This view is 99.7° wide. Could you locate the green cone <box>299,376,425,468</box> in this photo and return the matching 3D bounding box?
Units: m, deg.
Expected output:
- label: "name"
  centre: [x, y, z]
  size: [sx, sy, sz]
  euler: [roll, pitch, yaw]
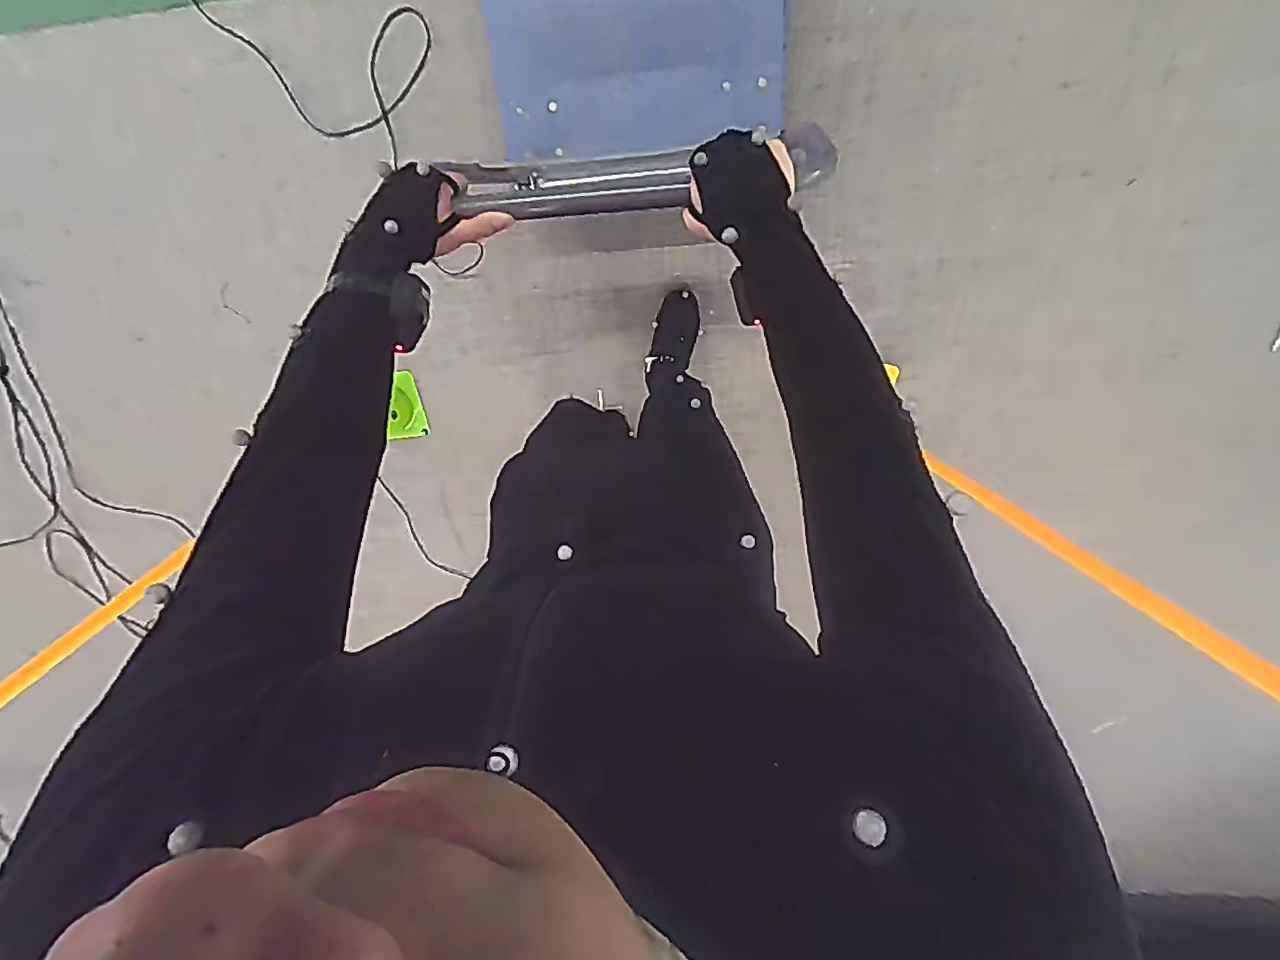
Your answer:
- label: "green cone"
  centre: [-0.763, -0.127, 1.431]
  size: [0.202, 0.368, 0.200]
  euler: [-5, 115, 9]
